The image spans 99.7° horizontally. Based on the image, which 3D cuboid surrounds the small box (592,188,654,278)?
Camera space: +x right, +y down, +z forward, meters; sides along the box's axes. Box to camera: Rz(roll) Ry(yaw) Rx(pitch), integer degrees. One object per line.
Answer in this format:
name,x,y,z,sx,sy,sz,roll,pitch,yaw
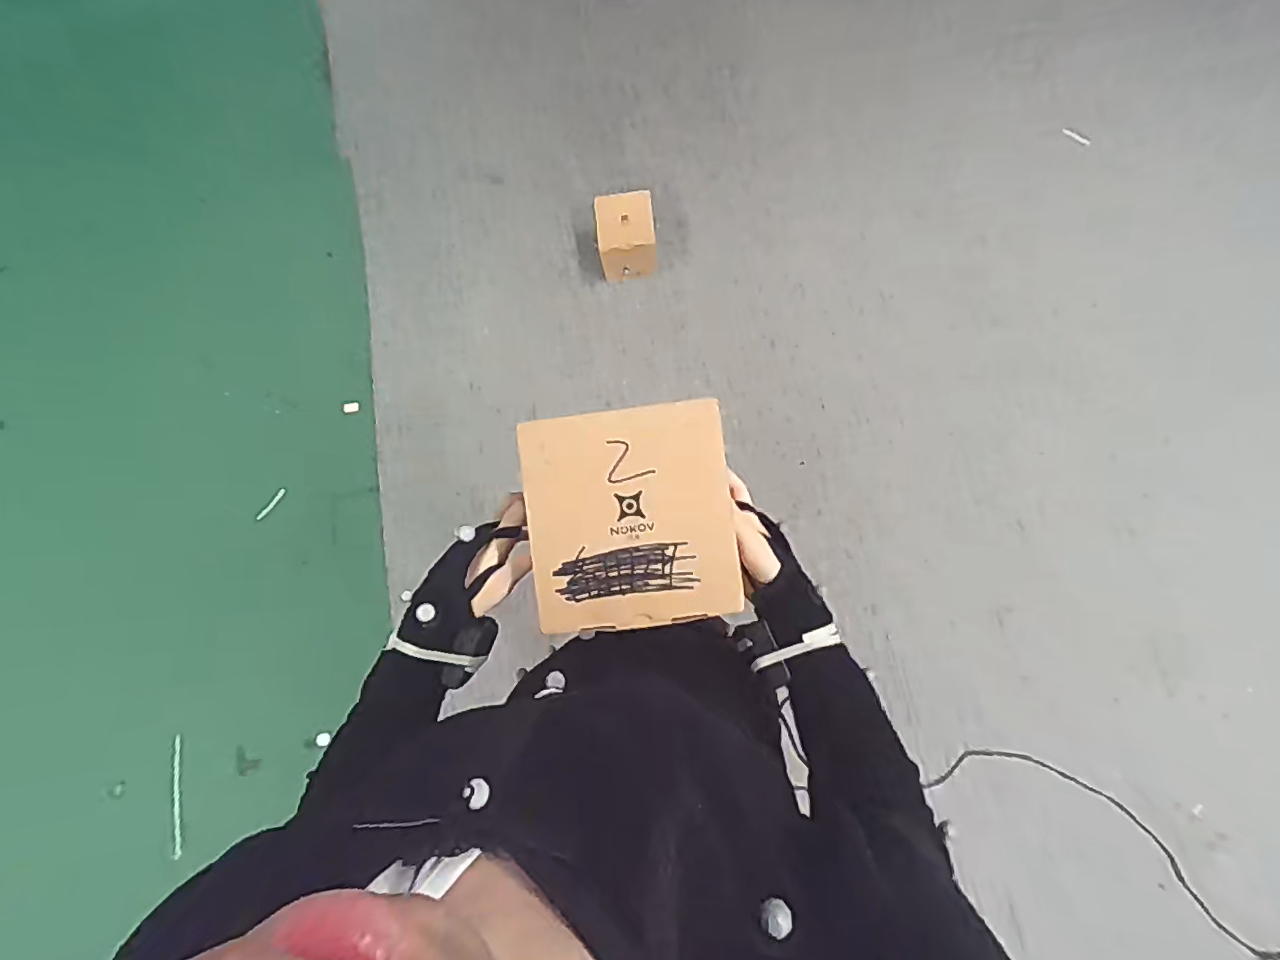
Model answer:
small box,-0.049,-0.739,1.628,0.168,0.176,0.179,-6,79,3
